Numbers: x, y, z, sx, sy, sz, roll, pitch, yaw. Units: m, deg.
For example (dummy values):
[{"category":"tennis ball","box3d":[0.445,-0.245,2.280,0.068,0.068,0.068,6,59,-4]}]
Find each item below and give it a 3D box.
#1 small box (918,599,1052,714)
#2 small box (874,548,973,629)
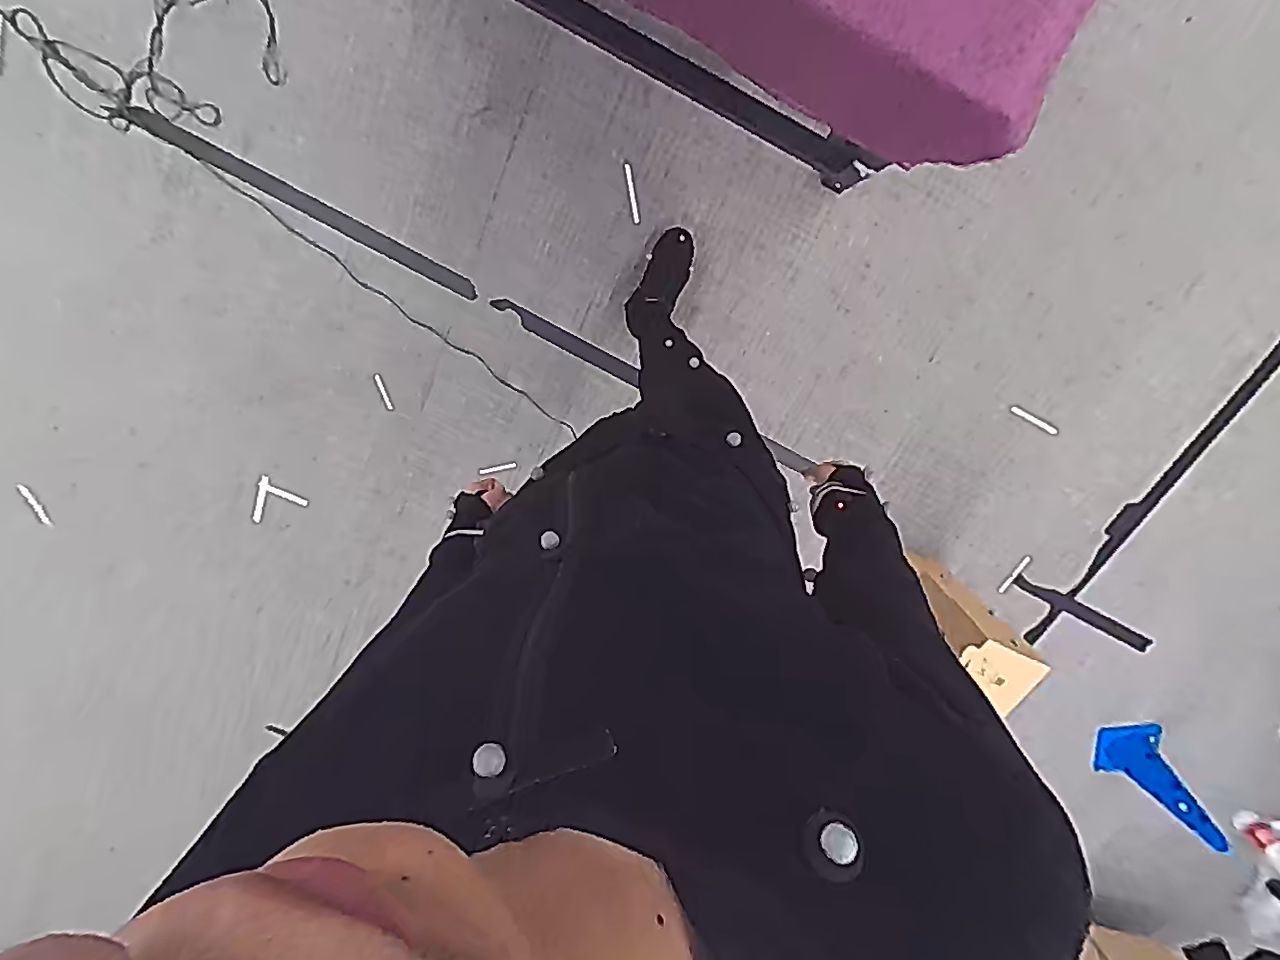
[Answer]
[{"category":"small box","box3d":[0.821,0.418,1.305,0.179,0.176,0.168,25,110,-5]},{"category":"small box","box3d":[0.839,0.326,1.623,0.179,0.176,0.168,22,110,-5]}]
